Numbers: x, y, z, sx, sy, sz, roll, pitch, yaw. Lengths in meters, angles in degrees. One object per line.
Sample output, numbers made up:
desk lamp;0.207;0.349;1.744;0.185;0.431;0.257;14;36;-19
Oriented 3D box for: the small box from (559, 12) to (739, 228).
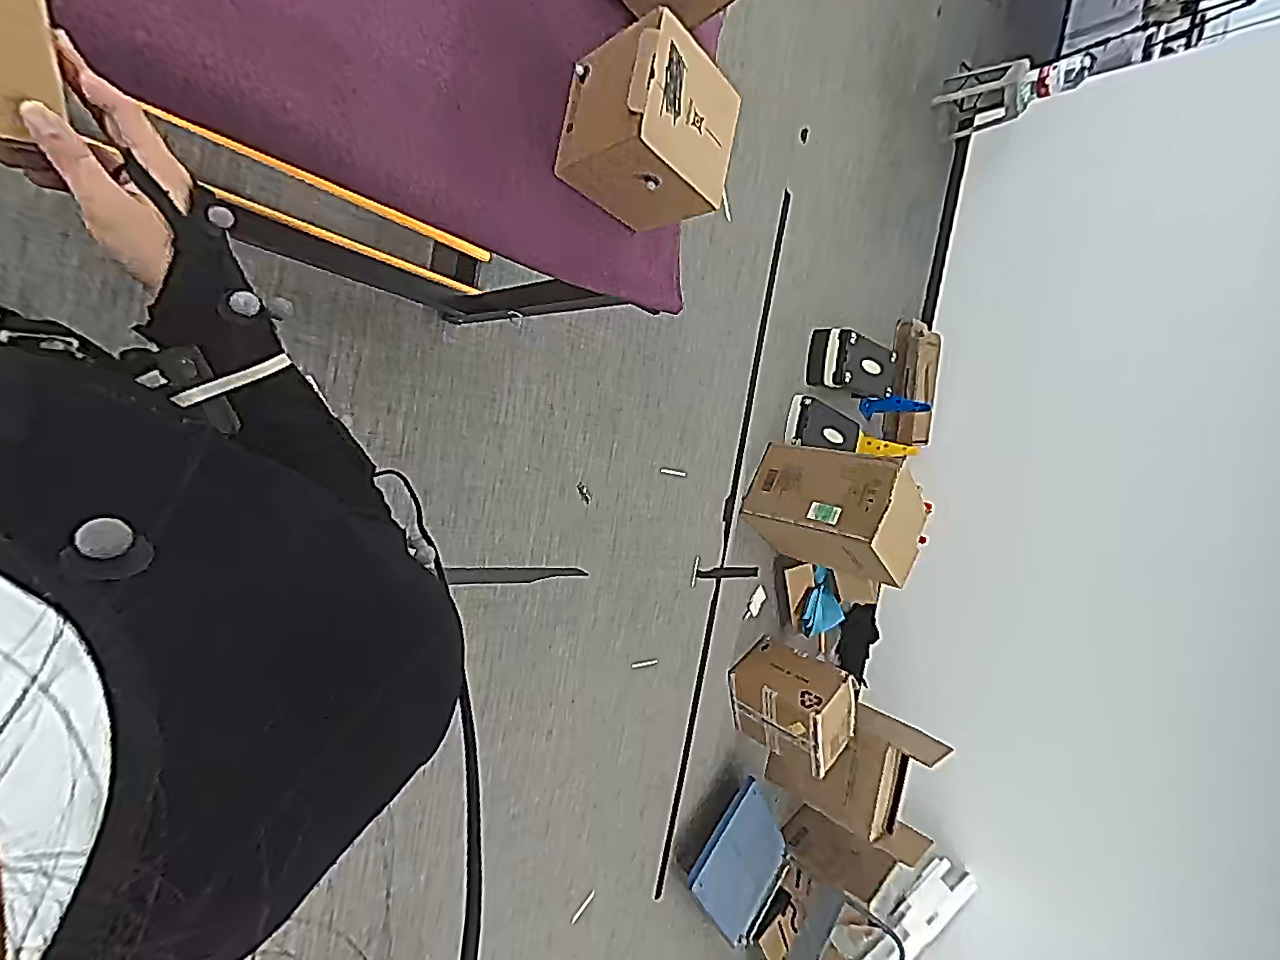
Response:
small box;0.010;-0.481;0.761;0.179;0.176;0.168;12;89;-47
